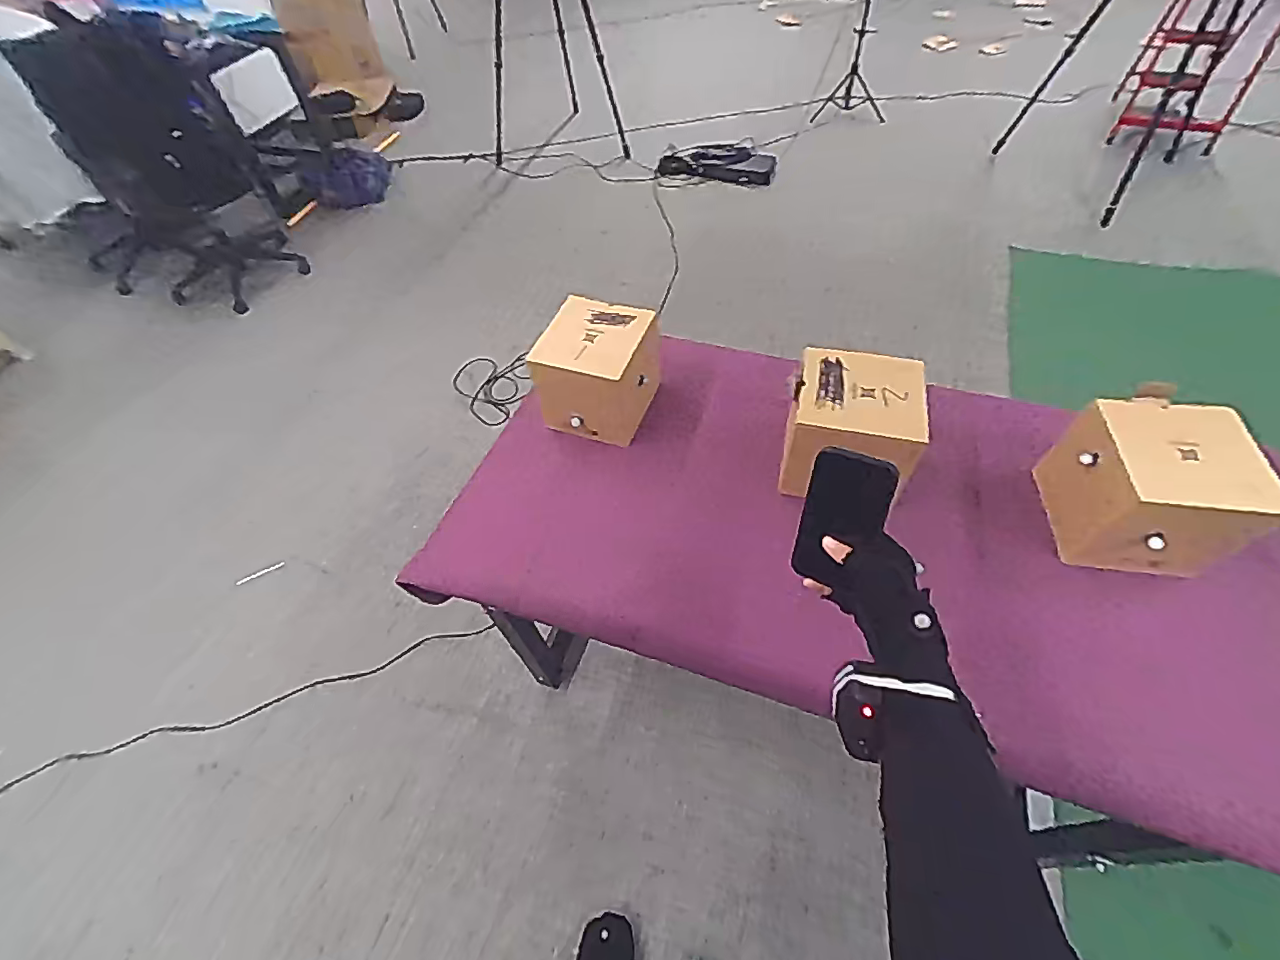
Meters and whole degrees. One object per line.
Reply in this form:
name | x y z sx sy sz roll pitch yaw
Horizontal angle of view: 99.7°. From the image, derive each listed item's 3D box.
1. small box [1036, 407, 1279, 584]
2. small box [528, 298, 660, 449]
small box | 0.689 0.024 0.739 0.168 0.176 0.179 6 53 9
small box | -0.070 -0.185 0.948 0.168 0.176 0.179 16 58 15
